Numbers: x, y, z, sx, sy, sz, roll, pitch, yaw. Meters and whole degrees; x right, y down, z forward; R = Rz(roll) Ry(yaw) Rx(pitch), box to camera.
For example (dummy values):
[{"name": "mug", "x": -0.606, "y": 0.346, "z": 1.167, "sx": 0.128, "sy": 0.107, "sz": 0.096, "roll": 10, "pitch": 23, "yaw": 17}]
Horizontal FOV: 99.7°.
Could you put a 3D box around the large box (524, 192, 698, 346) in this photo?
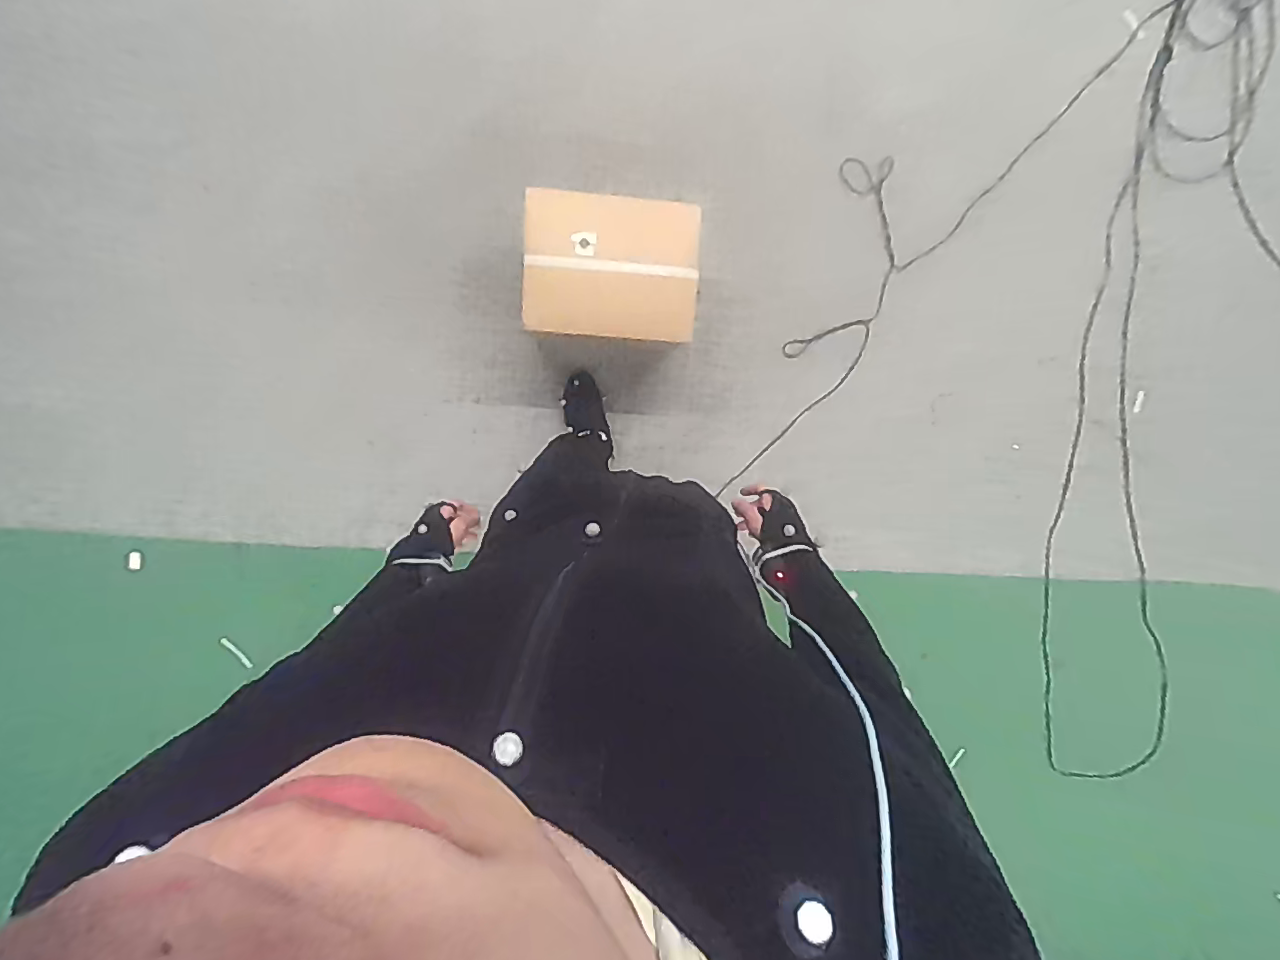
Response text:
[{"name": "large box", "x": -0.077, "y": -0.520, "z": 1.401, "sx": 0.408, "sy": 0.320, "sz": 0.320, "roll": 2, "pitch": 99, "yaw": -5}]
